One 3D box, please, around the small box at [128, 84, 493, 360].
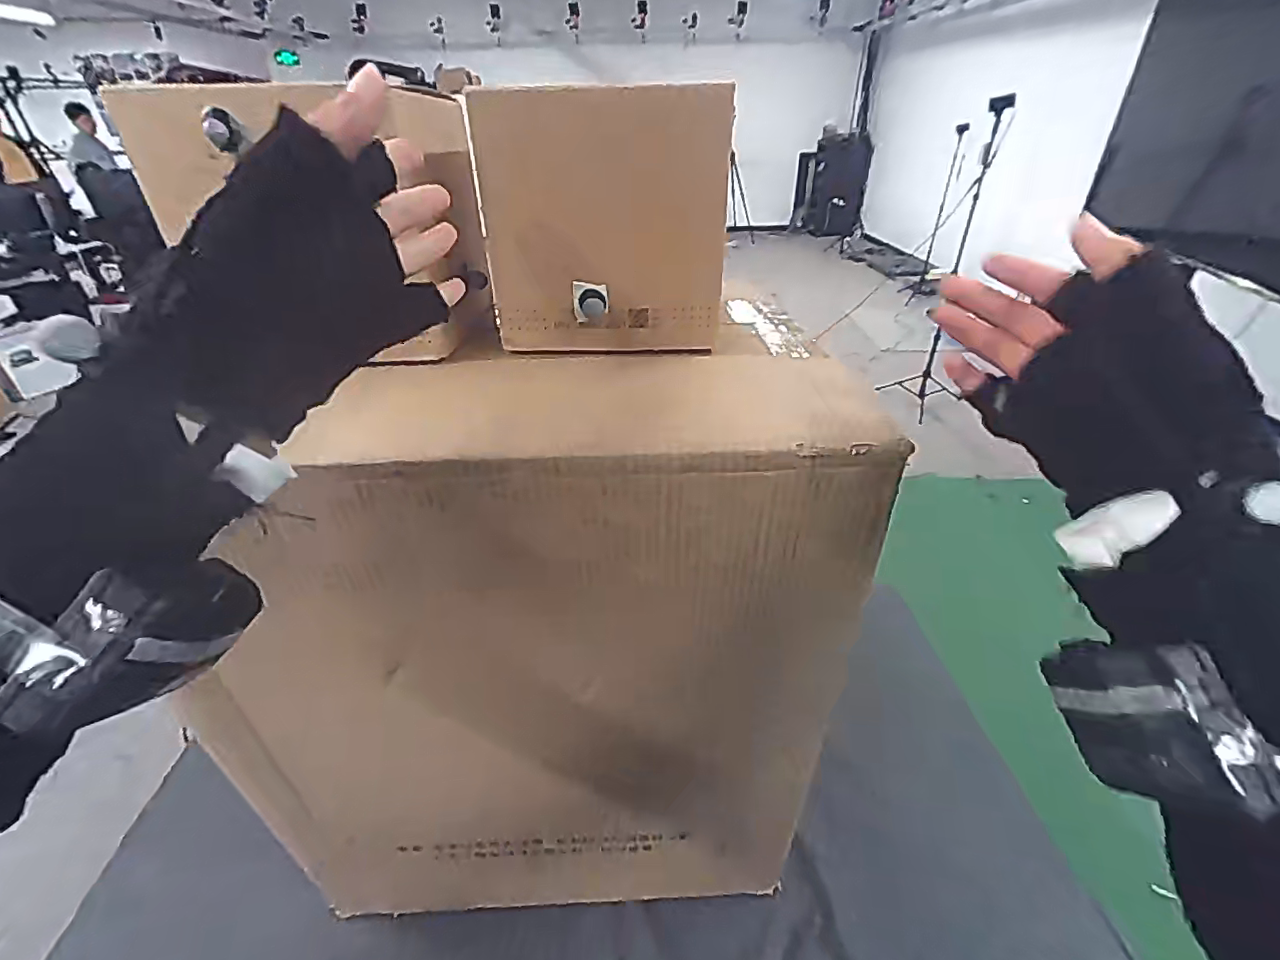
[{"bbox_3d":[-0.224,-0.202,0.432,0.168,0.176,0.179,-3,32,0],"label":"small box"}]
